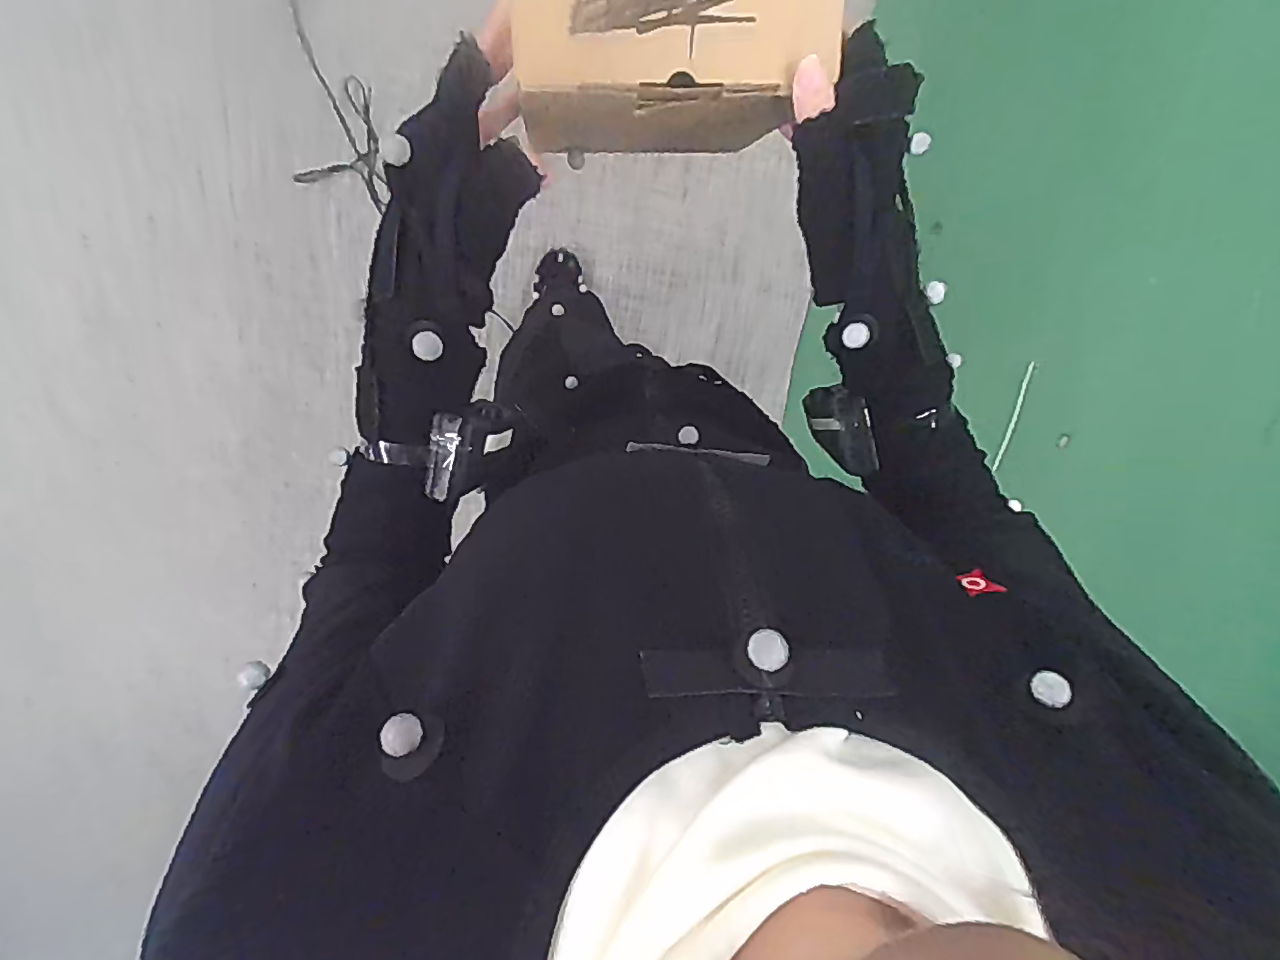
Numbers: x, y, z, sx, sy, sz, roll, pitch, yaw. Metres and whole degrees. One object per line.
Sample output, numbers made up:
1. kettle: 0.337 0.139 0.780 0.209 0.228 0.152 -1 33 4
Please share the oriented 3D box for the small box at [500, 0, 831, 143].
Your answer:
1. small box: 0.005 -0.313 0.318 0.168 0.176 0.179 -4 111 -6
